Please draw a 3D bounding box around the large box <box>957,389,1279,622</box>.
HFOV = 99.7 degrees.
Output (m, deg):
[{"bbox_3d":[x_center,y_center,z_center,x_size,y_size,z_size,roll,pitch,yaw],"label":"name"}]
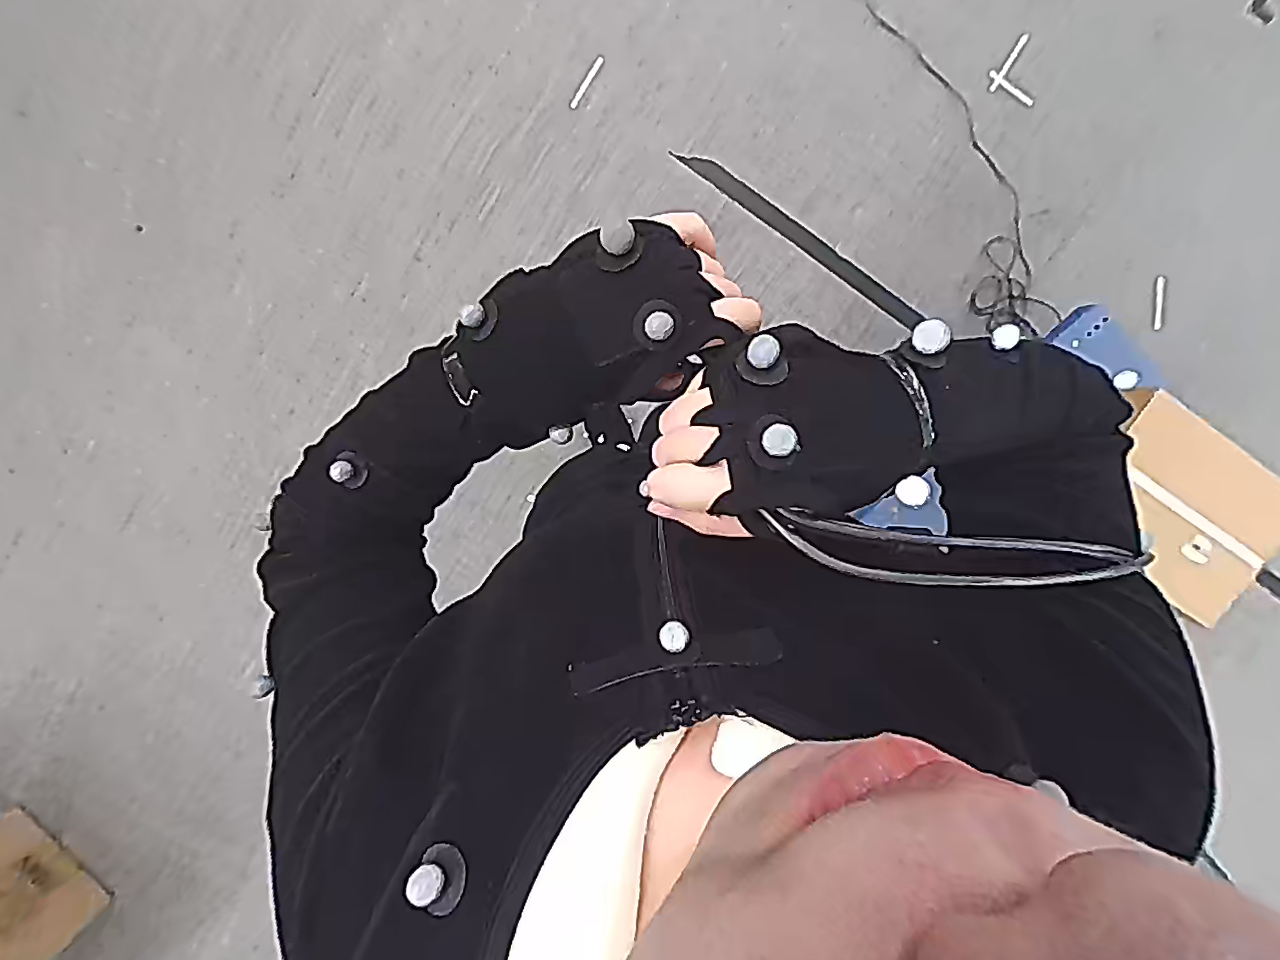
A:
[{"bbox_3d":[1.029,0.037,1.197,0.408,0.320,0.320,33,96,-6],"label":"large box"}]
